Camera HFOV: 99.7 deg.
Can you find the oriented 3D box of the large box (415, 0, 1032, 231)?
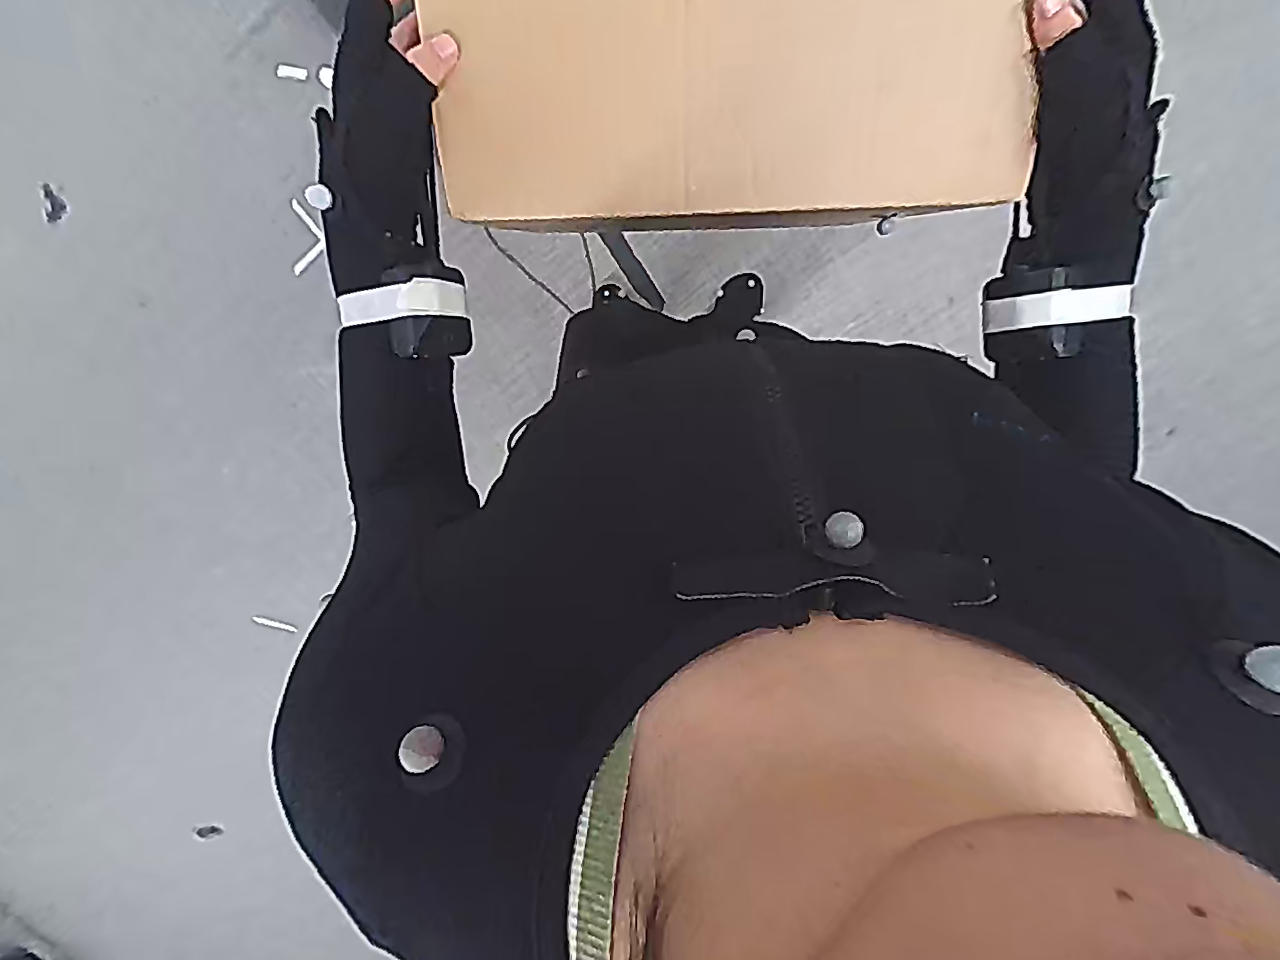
[{"bbox_3d":[0.052,-0.396,0.467,0.408,0.320,0.320,-3,113,0],"label":"large box"}]
